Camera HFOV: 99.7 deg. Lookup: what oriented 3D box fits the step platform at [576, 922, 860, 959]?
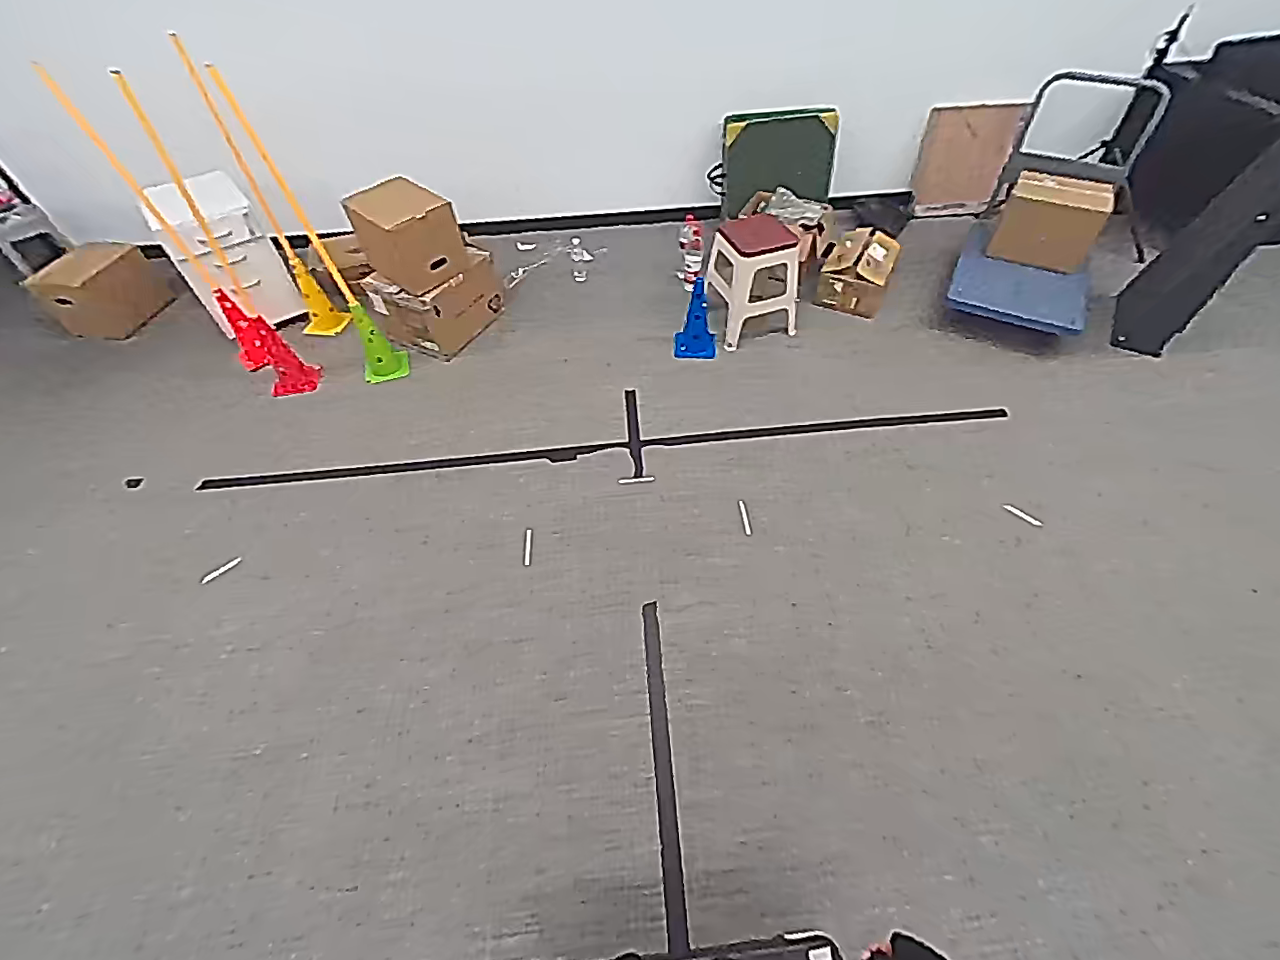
[{"bbox_3d":[0.137,1.125,1.097,0.684,0.204,0.286,-6,51,-4],"label":"step platform"}]
